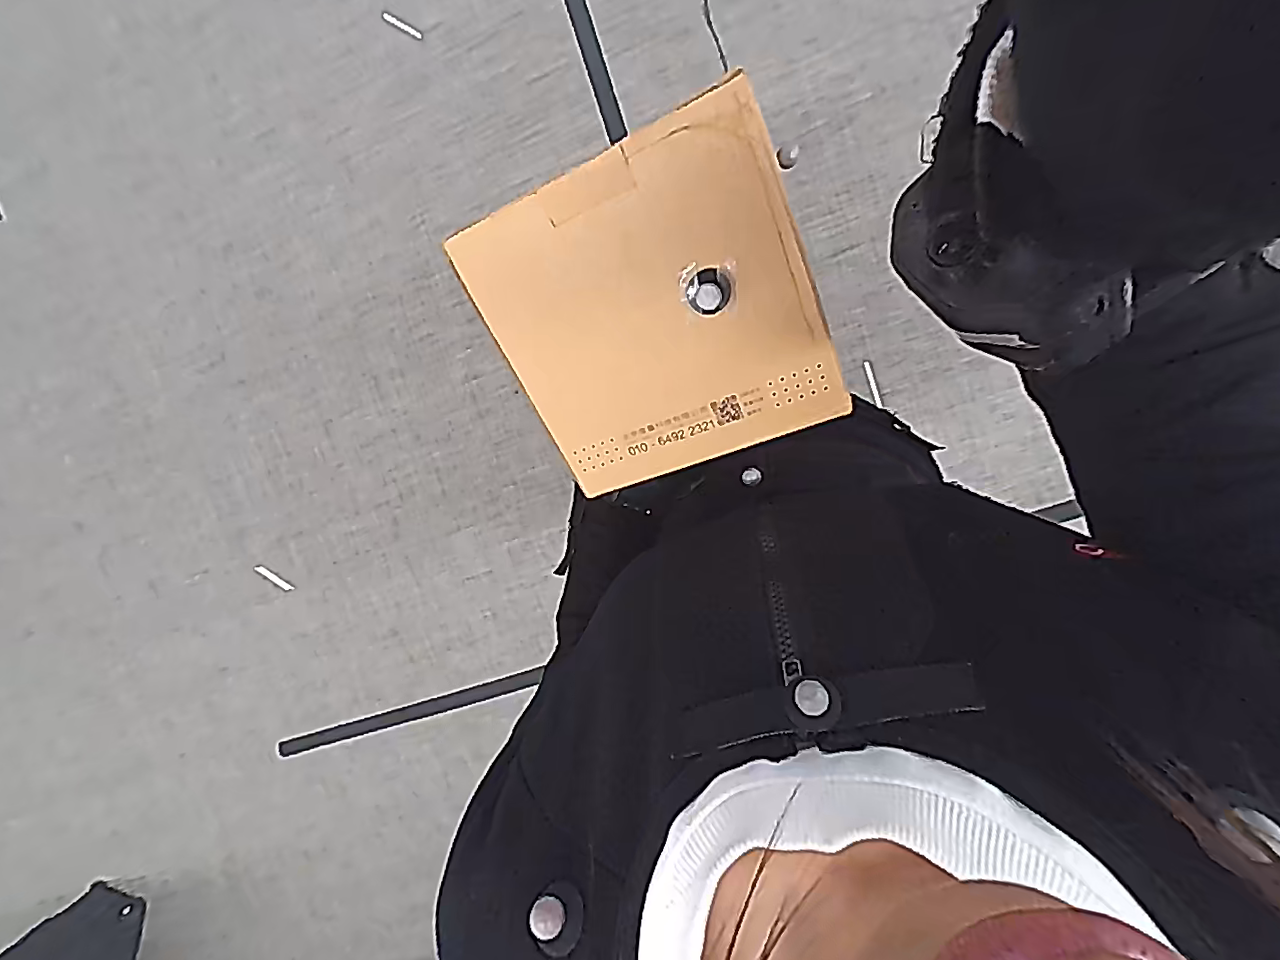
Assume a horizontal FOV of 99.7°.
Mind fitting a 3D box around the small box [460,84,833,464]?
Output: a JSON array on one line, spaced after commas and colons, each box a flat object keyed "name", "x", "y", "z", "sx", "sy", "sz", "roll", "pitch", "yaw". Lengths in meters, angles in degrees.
[{"name": "small box", "x": 0.021, "y": -0.126, "z": 0.368, "sx": 0.168, "sy": 0.179, "sz": 0.176, "roll": -17, "pitch": 116, "yaw": 21}]
